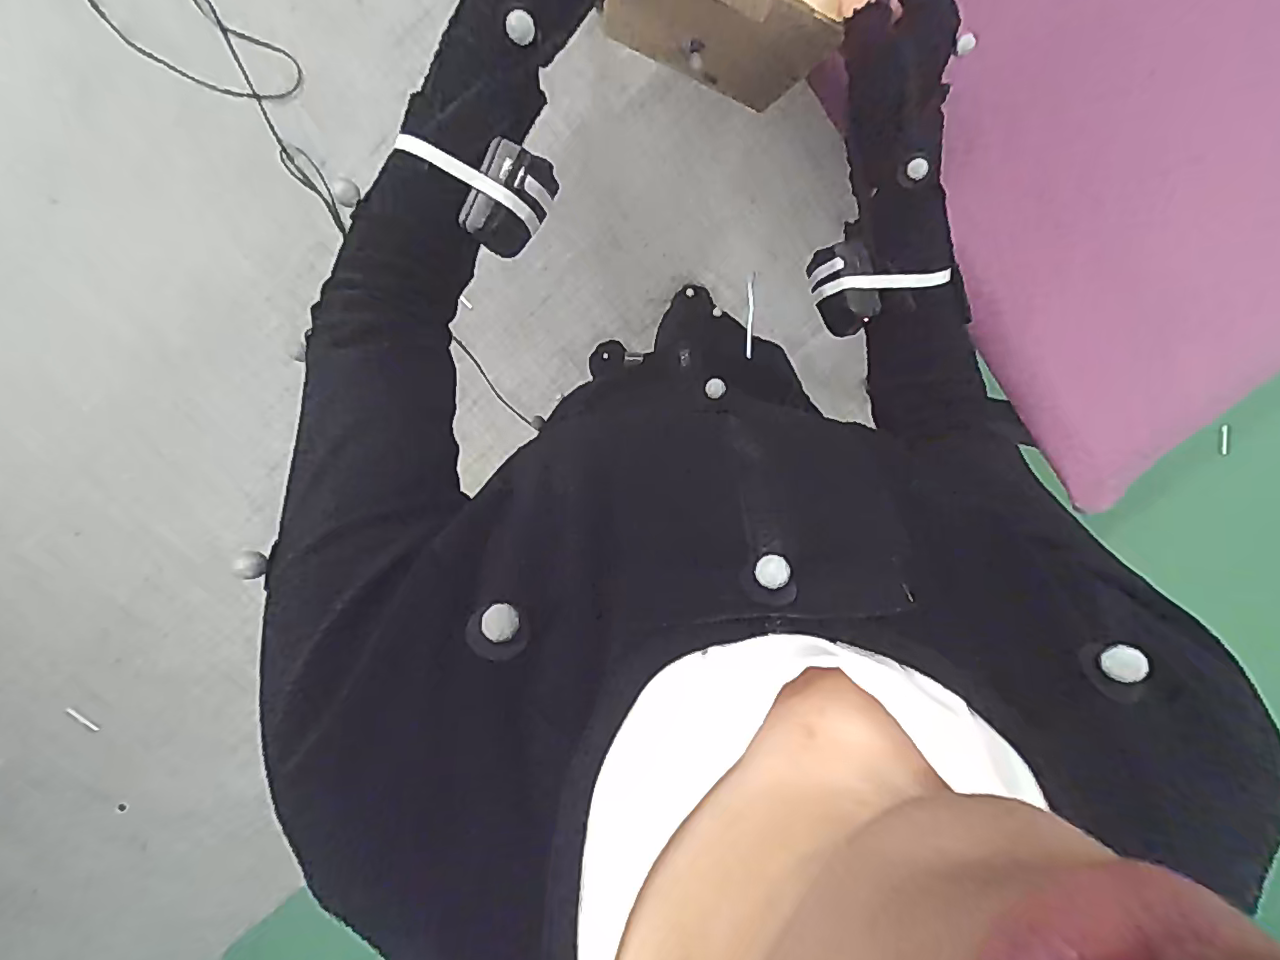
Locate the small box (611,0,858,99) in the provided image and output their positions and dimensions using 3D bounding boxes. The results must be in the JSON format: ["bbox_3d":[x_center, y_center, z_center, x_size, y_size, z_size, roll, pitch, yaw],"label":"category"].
[{"bbox_3d":[0.082,-0.431,0.397,0.168,0.176,0.179,16,106,-13],"label":"small box"}]
